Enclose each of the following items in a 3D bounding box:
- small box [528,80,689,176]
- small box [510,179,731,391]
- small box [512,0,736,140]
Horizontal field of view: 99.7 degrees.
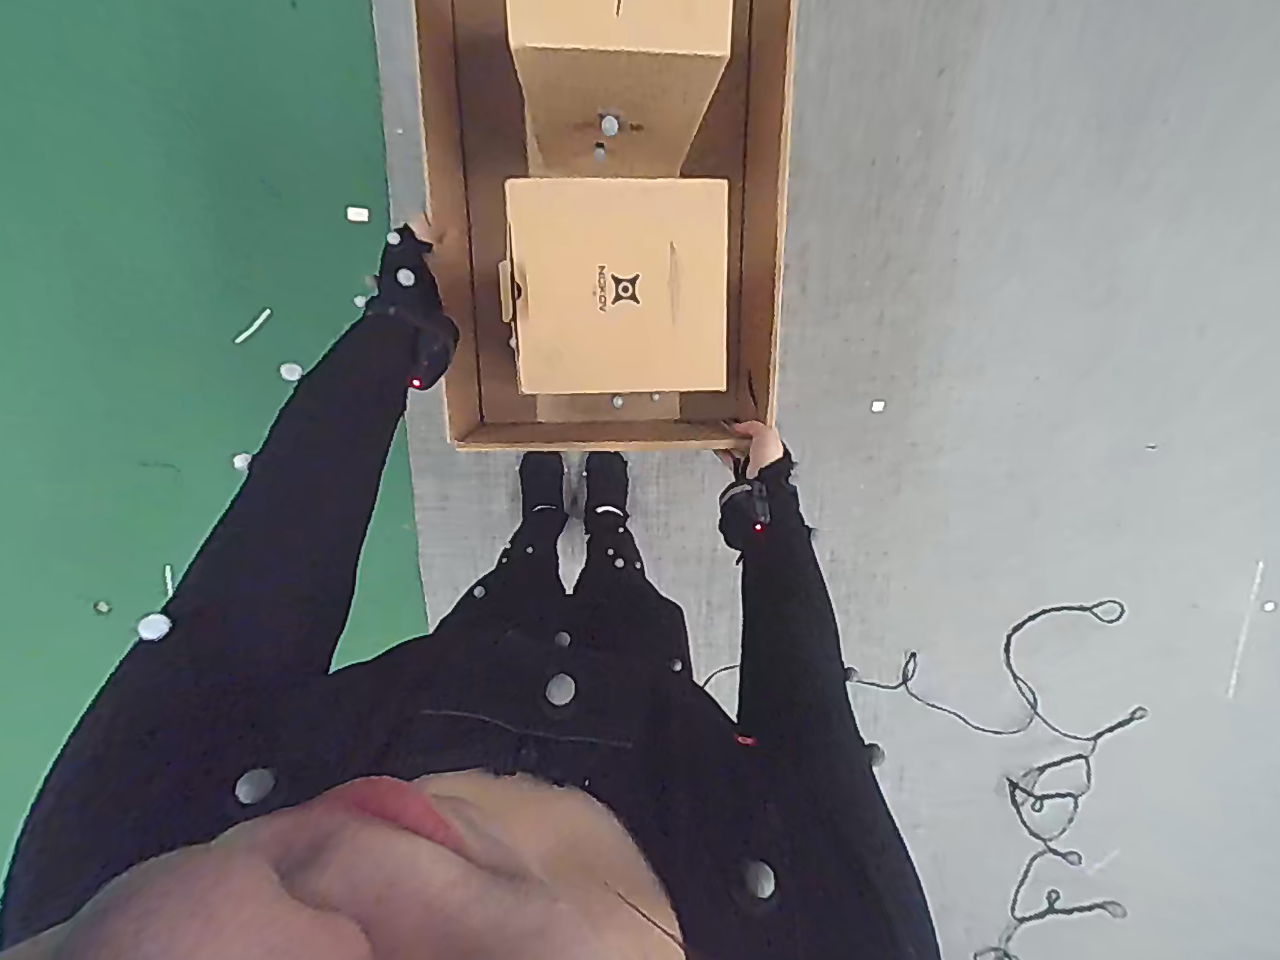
[{"bbox_3d":[-0.028,-0.462,0.614,0.179,0.176,0.168,1,104,-4],"label":"small box"},{"bbox_3d":[-0.018,-0.171,0.516,0.179,0.176,0.168,-3,103,-4],"label":"small box"},{"bbox_3d":[-0.016,-0.418,0.456,0.168,0.176,0.179,0,105,-4],"label":"small box"}]
